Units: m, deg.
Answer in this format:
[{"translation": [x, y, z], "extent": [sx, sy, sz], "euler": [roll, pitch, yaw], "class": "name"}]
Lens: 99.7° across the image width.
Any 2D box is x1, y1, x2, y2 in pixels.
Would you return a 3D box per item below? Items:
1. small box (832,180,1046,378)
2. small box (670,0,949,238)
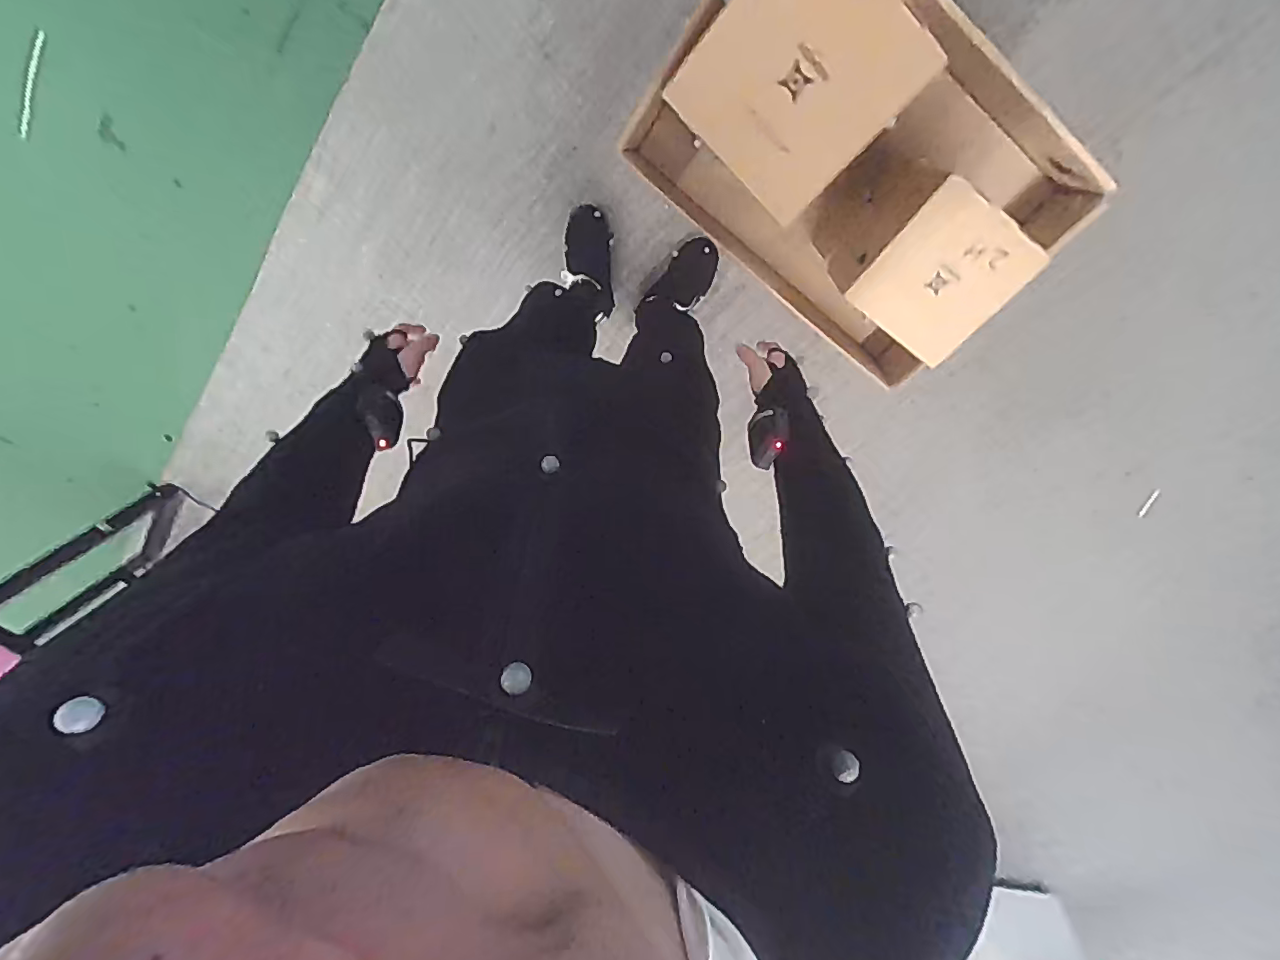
[{"translation": [0.383, -0.276, 0.736], "extent": [0.168, 0.176, 0.179], "euler": [34, 121, -12], "class": "small box"}, {"translation": [0.149, -0.372, 0.526], "extent": [0.168, 0.176, 0.179], "euler": [41, 118, -15], "class": "small box"}]
